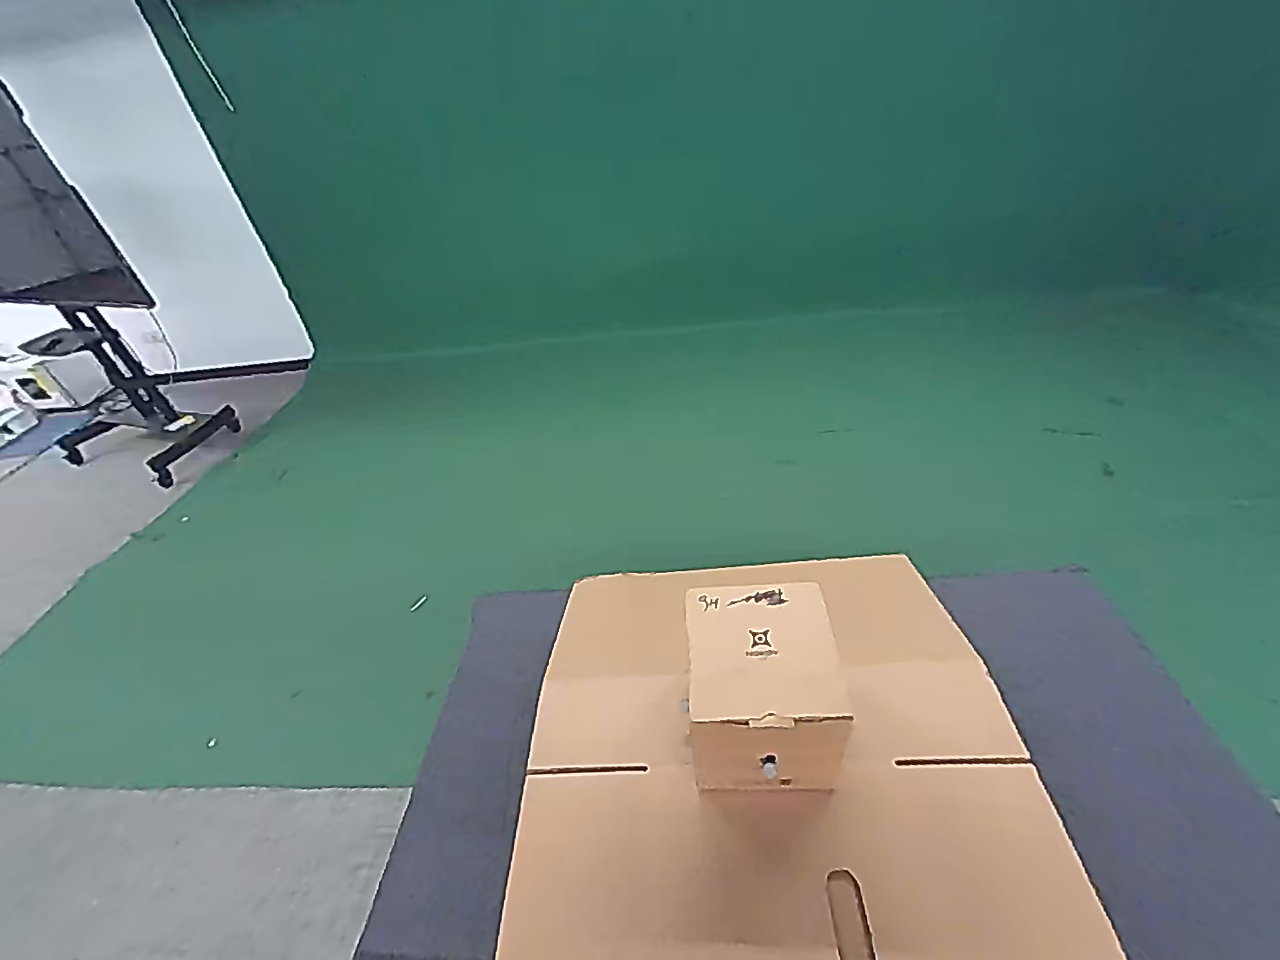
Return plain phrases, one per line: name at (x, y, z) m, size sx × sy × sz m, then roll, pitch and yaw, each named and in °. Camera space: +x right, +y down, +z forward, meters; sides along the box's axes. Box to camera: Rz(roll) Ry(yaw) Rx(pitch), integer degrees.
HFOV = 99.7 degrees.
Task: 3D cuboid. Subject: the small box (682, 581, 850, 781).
small box at (0.144, 0.249, 0.660) m, size 0.168 × 0.176 × 0.179 m, roll -6°, pitch 39°, yaw 5°
